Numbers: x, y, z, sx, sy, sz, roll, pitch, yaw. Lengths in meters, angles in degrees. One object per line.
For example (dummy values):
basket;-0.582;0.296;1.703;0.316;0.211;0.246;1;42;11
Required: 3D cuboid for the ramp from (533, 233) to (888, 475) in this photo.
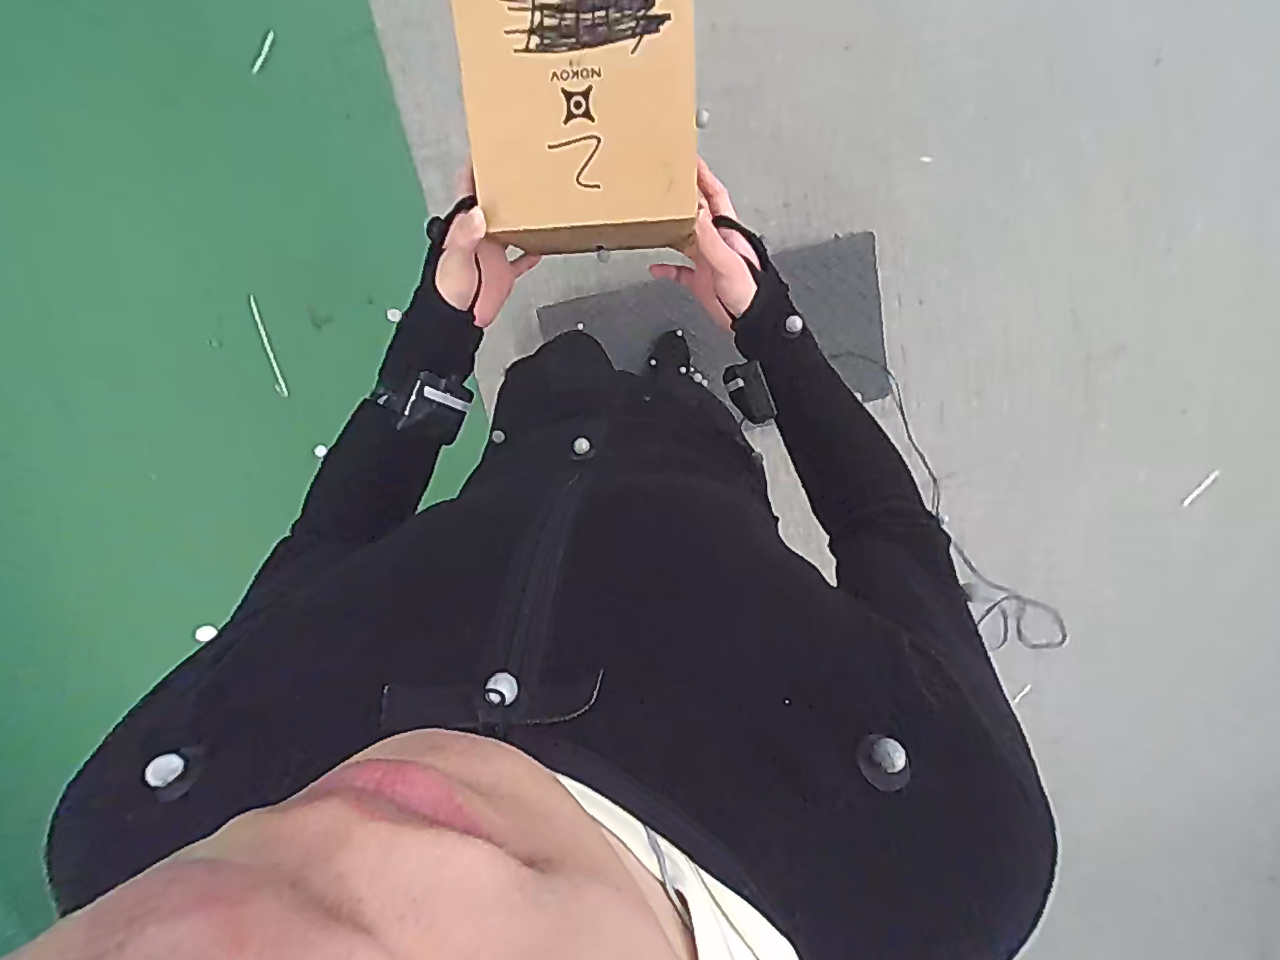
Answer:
ramp;0.233;-0.366;1.589;0.991;0.206;0.509;-13;104;7
